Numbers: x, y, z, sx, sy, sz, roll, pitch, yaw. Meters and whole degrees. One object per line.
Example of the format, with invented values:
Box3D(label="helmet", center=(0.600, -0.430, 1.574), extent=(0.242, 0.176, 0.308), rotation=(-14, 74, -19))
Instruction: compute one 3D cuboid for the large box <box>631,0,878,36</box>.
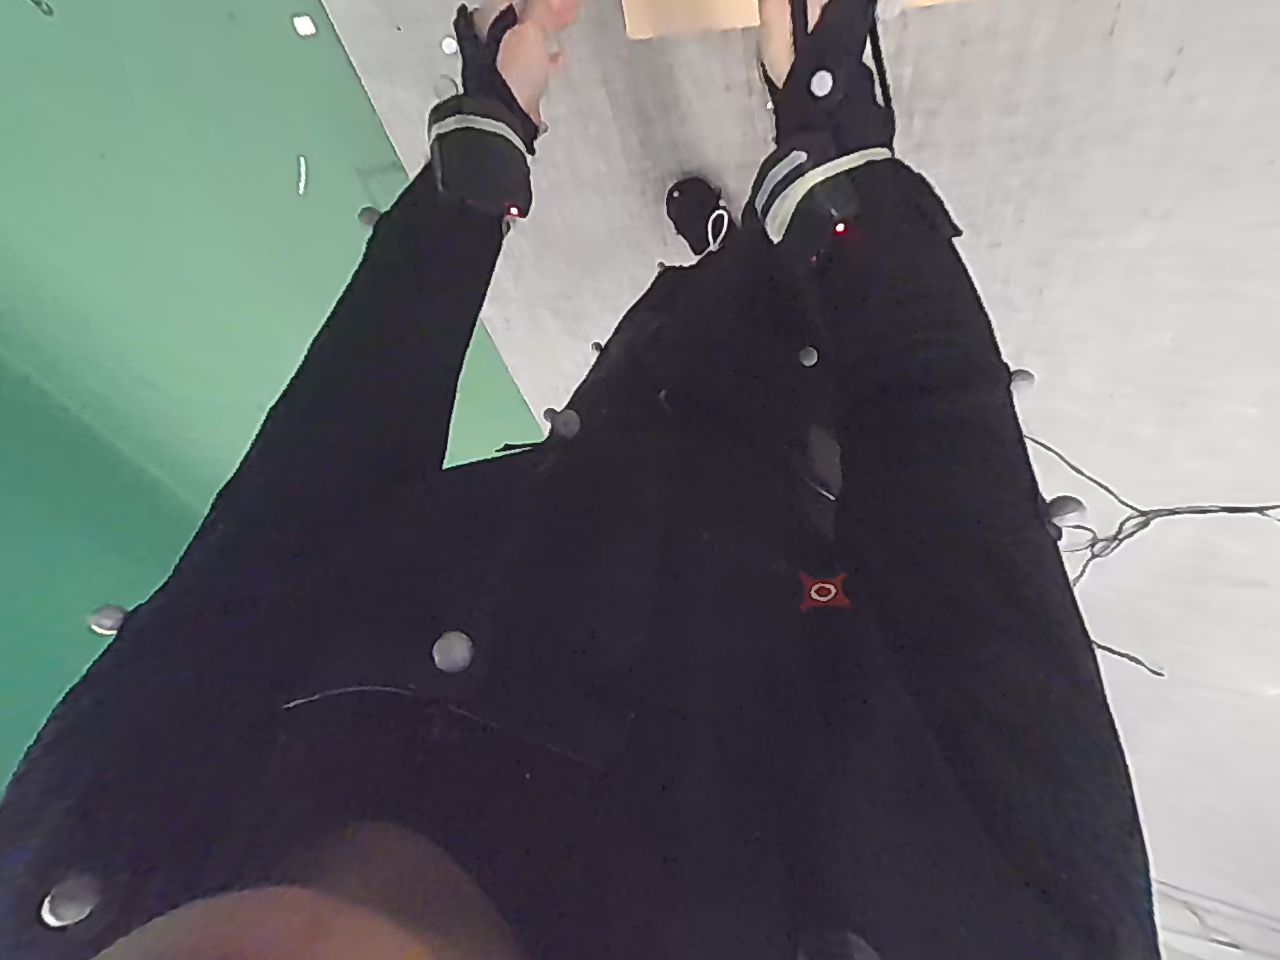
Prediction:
Box3D(label="large box", center=(0.200, -0.752, 0.604), extent=(0.408, 0.320, 0.320), rotation=(8, 141, 19))
